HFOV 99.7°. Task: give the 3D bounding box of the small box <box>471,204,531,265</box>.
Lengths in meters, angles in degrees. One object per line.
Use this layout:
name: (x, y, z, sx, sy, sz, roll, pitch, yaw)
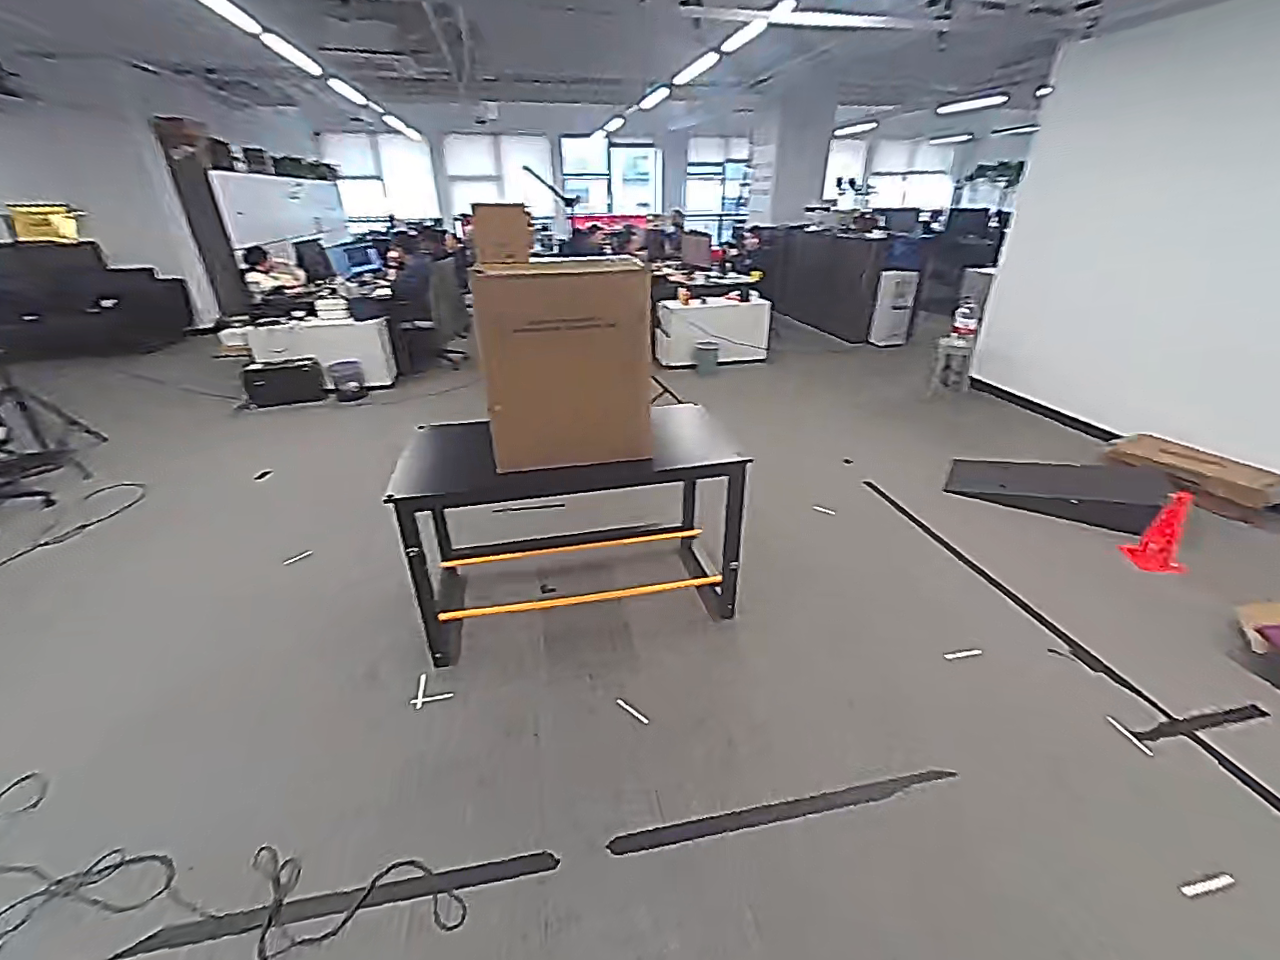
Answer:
small box: (-0.440, -0.782, 1.722, 0.168, 0.176, 0.179, -7, 26, -12)
